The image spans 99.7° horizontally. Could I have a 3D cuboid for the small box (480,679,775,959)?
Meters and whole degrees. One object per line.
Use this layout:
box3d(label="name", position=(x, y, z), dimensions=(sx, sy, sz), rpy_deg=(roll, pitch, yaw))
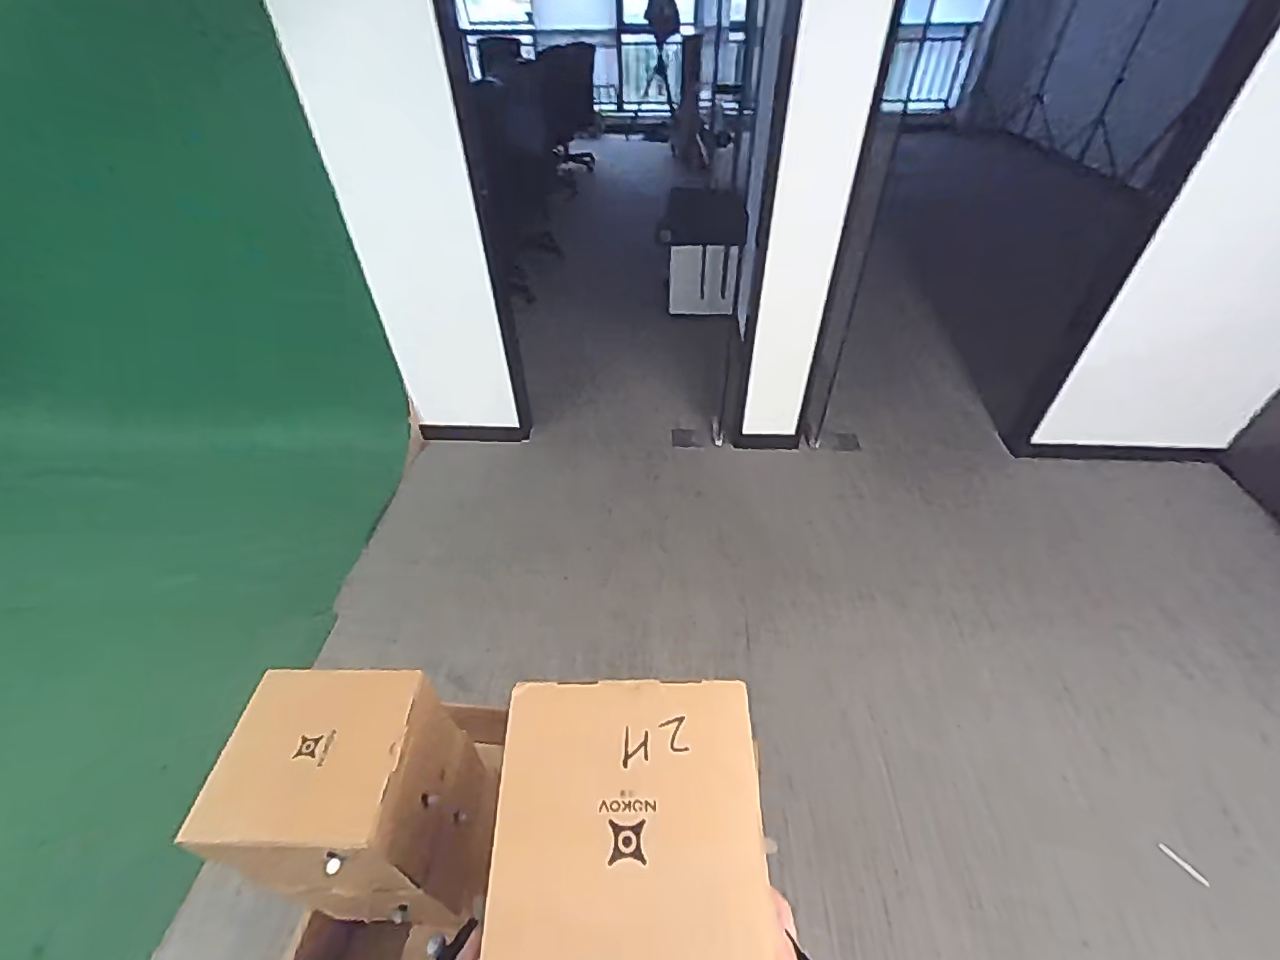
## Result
box3d(label="small box", position=(-0.006, 0.255, 0.395), dimensions=(0.168, 0.176, 0.179), rpy_deg=(0, 56, 0))

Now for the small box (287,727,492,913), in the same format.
box3d(label="small box", position=(-0.302, 0.440, 0.702), dimensions=(0.168, 0.176, 0.179), rpy_deg=(1, 43, 2))

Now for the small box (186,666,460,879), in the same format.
box3d(label="small box", position=(-0.318, 0.321, 0.592), dimensions=(0.179, 0.176, 0.168), rpy_deg=(0, 43, 0))
